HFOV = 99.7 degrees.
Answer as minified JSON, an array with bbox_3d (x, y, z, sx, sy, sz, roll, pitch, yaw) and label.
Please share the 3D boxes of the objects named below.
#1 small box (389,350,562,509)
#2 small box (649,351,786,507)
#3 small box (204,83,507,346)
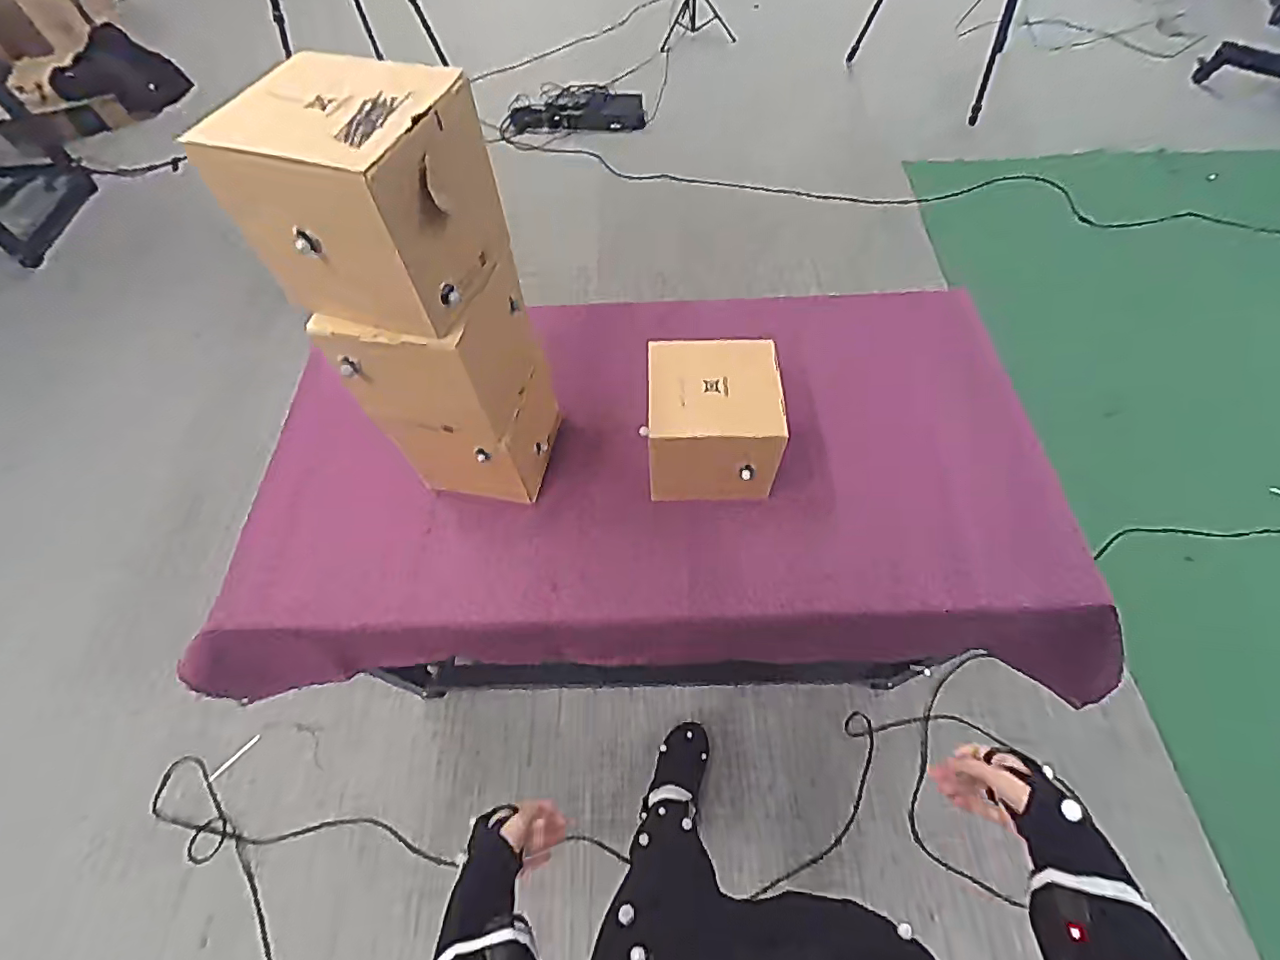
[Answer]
[{"bbox_3d":[-0.231,-0.071,0.811,0.179,0.176,0.168,8,59,7],"label":"small box"},{"bbox_3d":[0.102,-0.070,0.794,0.179,0.176,0.168,-1,57,3],"label":"small box"},{"bbox_3d":[-0.256,-0.258,0.541,0.179,0.176,0.168,14,59,11],"label":"small box"}]
